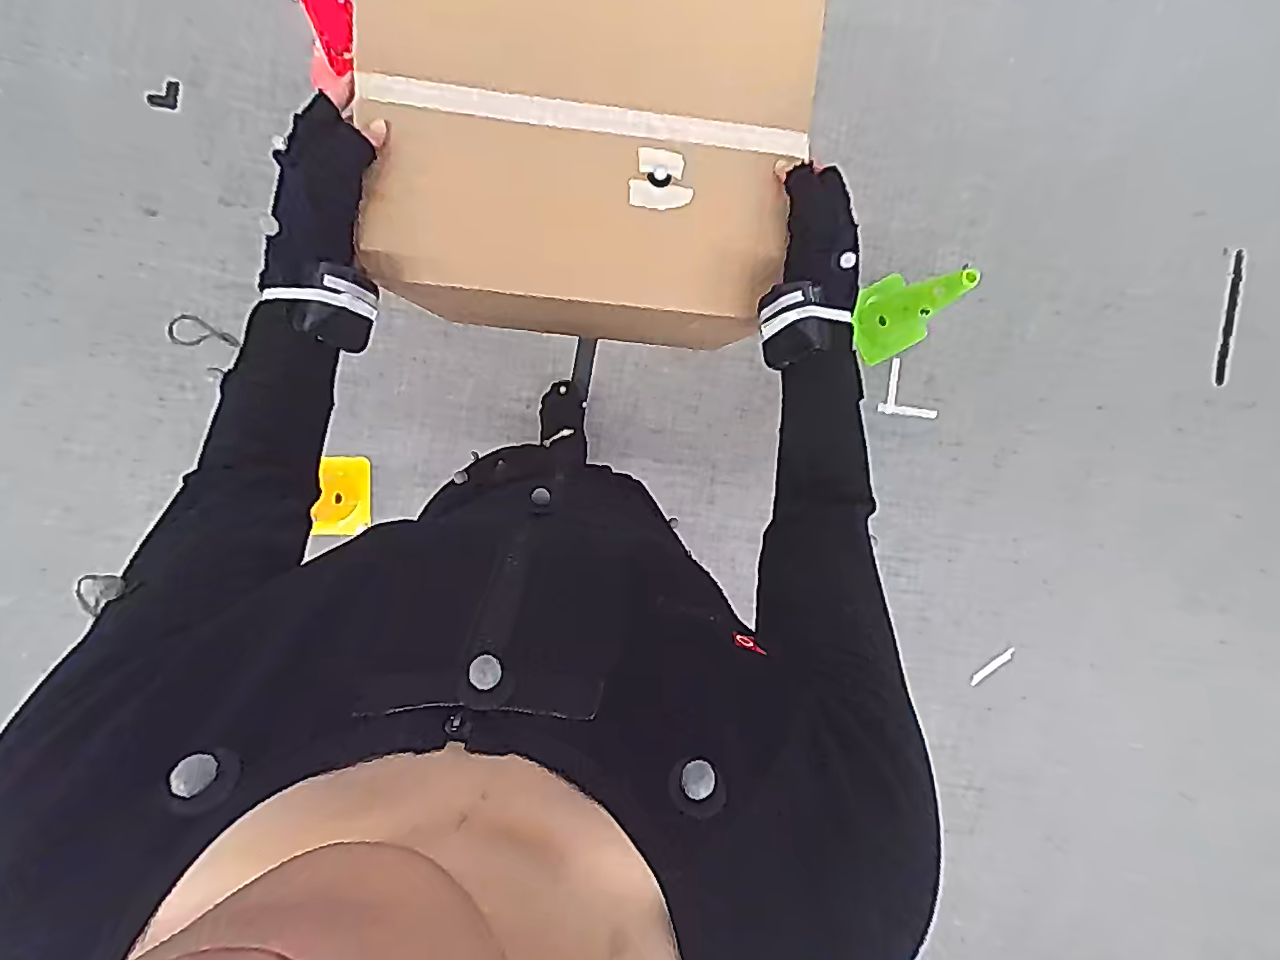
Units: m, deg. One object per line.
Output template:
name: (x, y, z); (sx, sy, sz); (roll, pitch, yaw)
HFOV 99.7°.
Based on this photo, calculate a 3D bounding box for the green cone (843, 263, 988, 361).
green cone: (0.699, -0.445, 1.325); (0.202, 0.368, 0.200); (-29, 95, -4)

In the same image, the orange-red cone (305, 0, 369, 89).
orange-red cone: (-0.698, -1.073, 1.185); (0.198, 0.360, 0.199); (7, 94, -4)

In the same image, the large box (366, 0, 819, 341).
large box: (-0.057, -0.353, 0.638); (0.408, 0.320, 0.320); (4, 99, -6)
